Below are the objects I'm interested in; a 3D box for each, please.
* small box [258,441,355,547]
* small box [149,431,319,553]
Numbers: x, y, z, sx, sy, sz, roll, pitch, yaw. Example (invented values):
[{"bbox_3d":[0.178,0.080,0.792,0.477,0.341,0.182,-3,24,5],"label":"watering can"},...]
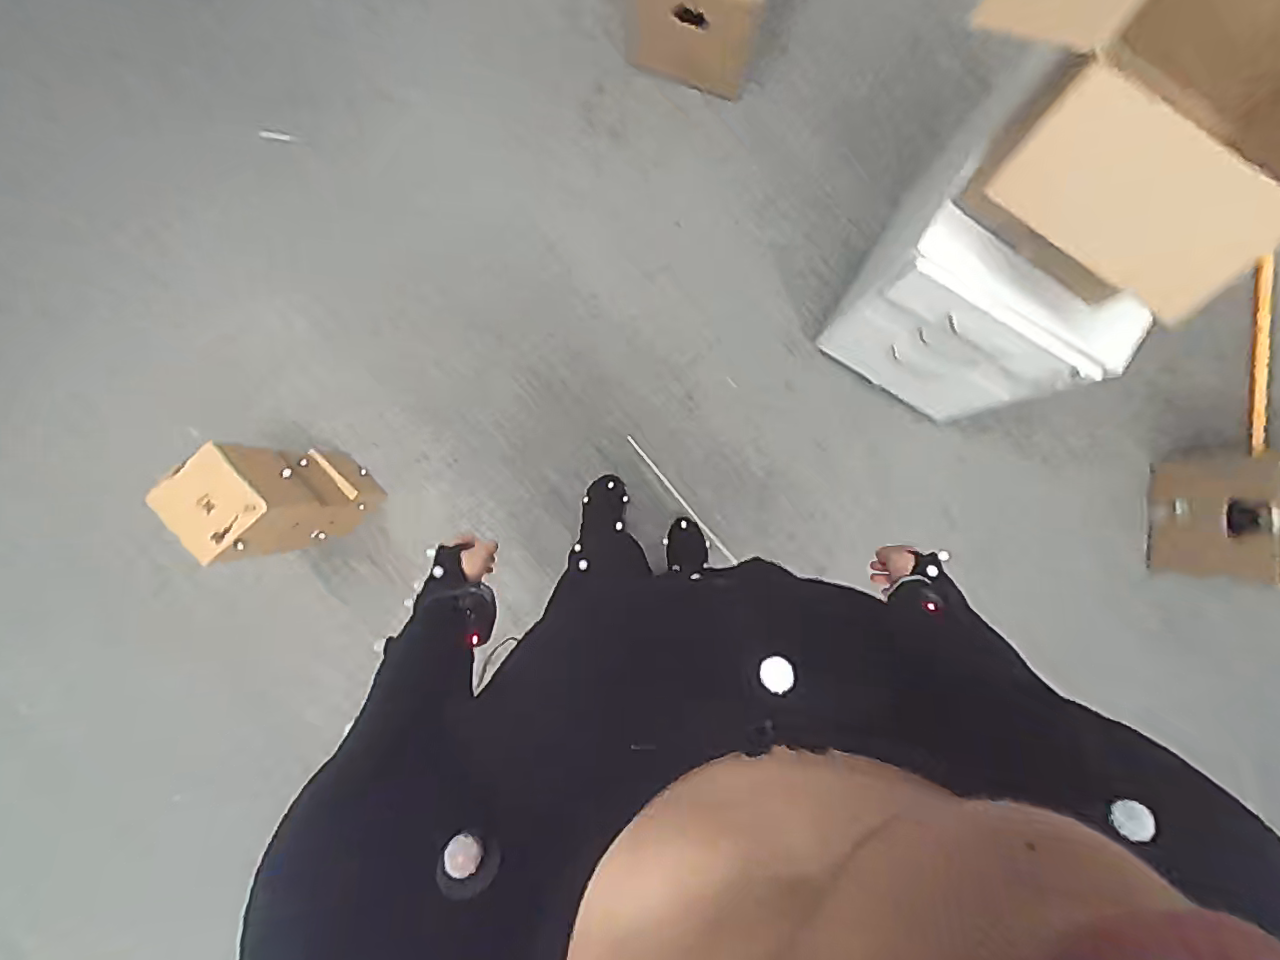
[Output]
[{"bbox_3d":[-0.815,0.035,1.254,0.168,0.176,0.179,-41,89,-1],"label":"small box"},{"bbox_3d":[-0.805,0.027,1.091,0.168,0.176,0.179,-41,87,-1],"label":"small box"}]
